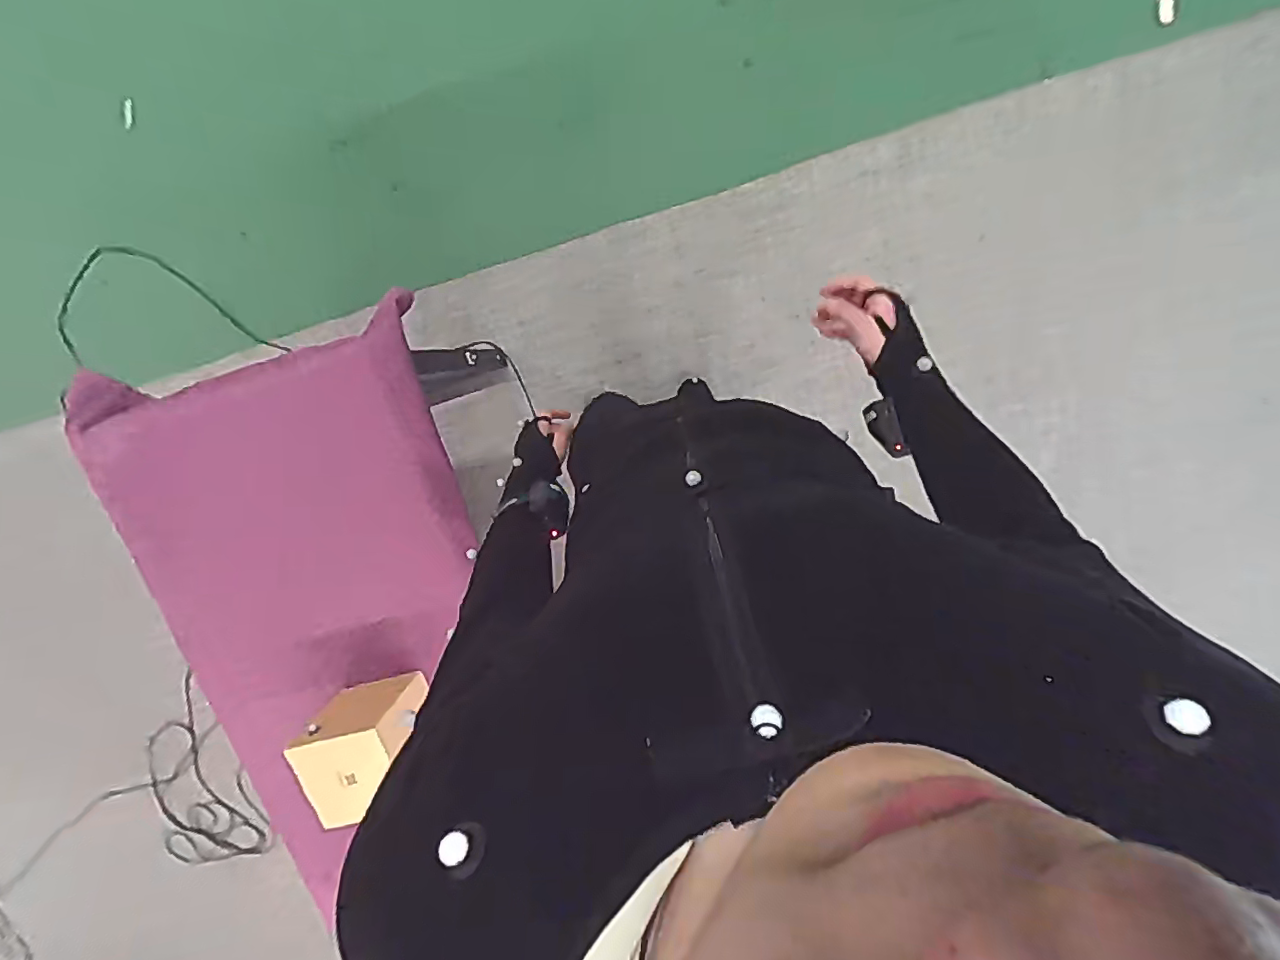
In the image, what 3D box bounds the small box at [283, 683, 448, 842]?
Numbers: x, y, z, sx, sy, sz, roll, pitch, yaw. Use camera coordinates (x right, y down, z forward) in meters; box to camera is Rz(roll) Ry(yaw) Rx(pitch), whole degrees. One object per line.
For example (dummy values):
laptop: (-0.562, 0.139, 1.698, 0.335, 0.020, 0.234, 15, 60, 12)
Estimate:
small box: (-0.462, 0.484, 0.948, 0.179, 0.176, 0.168, -17, 101, 9)
